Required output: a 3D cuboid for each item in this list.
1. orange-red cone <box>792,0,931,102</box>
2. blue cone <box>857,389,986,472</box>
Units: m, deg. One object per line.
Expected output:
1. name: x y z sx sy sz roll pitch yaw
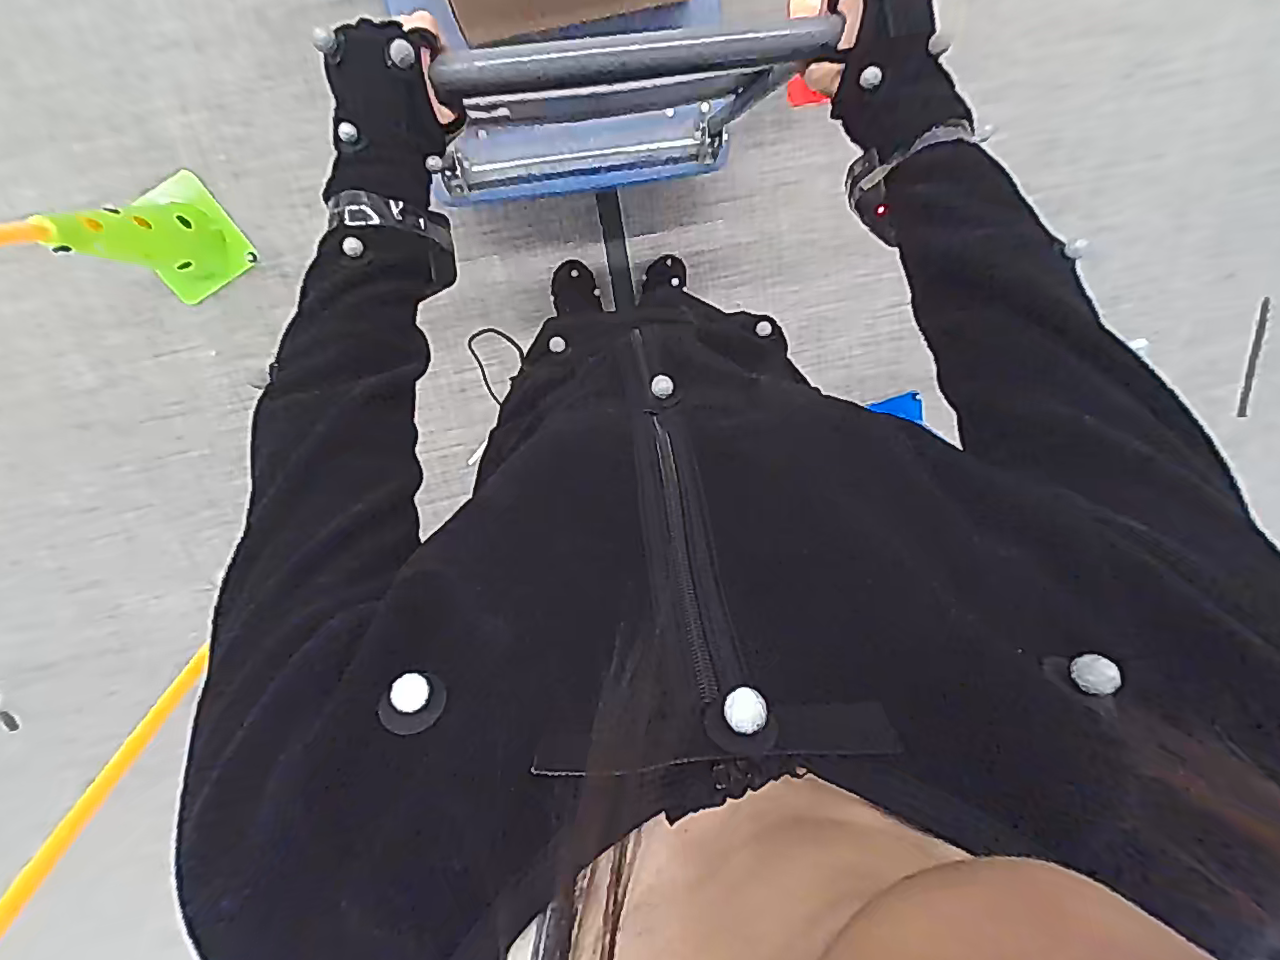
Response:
1. orange-red cone: 0.455 -0.874 1.014 0.199 0.360 0.198 -7 113 -7
2. blue cone: 0.736 -0.090 1.382 0.193 0.380 0.192 -16 112 -2
